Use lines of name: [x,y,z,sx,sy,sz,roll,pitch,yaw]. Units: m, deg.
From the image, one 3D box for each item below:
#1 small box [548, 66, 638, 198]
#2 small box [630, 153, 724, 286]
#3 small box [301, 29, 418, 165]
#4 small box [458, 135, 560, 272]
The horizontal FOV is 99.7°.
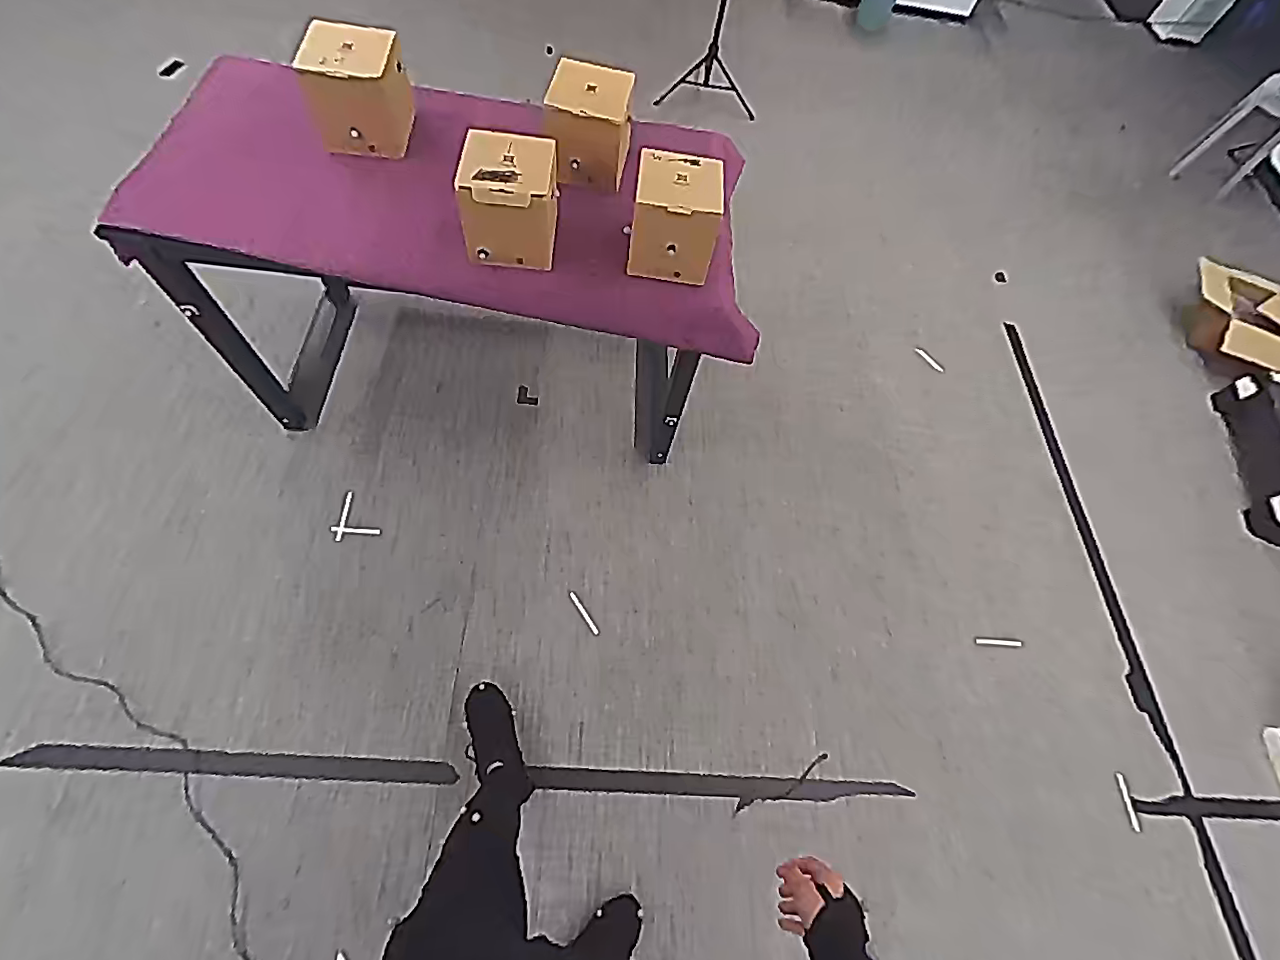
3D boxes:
small box: [-0.107,-0.775,1.212,0.168,0.176,0.179,11,64,-2]
small box: [0.072,-0.526,1.106,0.168,0.176,0.179,7,61,-4]
small box: [-0.591,-0.820,1.167,0.168,0.176,0.179,2,64,-7]
small box: [-0.248,-0.541,1.072,0.168,0.176,0.179,4,62,-6]
